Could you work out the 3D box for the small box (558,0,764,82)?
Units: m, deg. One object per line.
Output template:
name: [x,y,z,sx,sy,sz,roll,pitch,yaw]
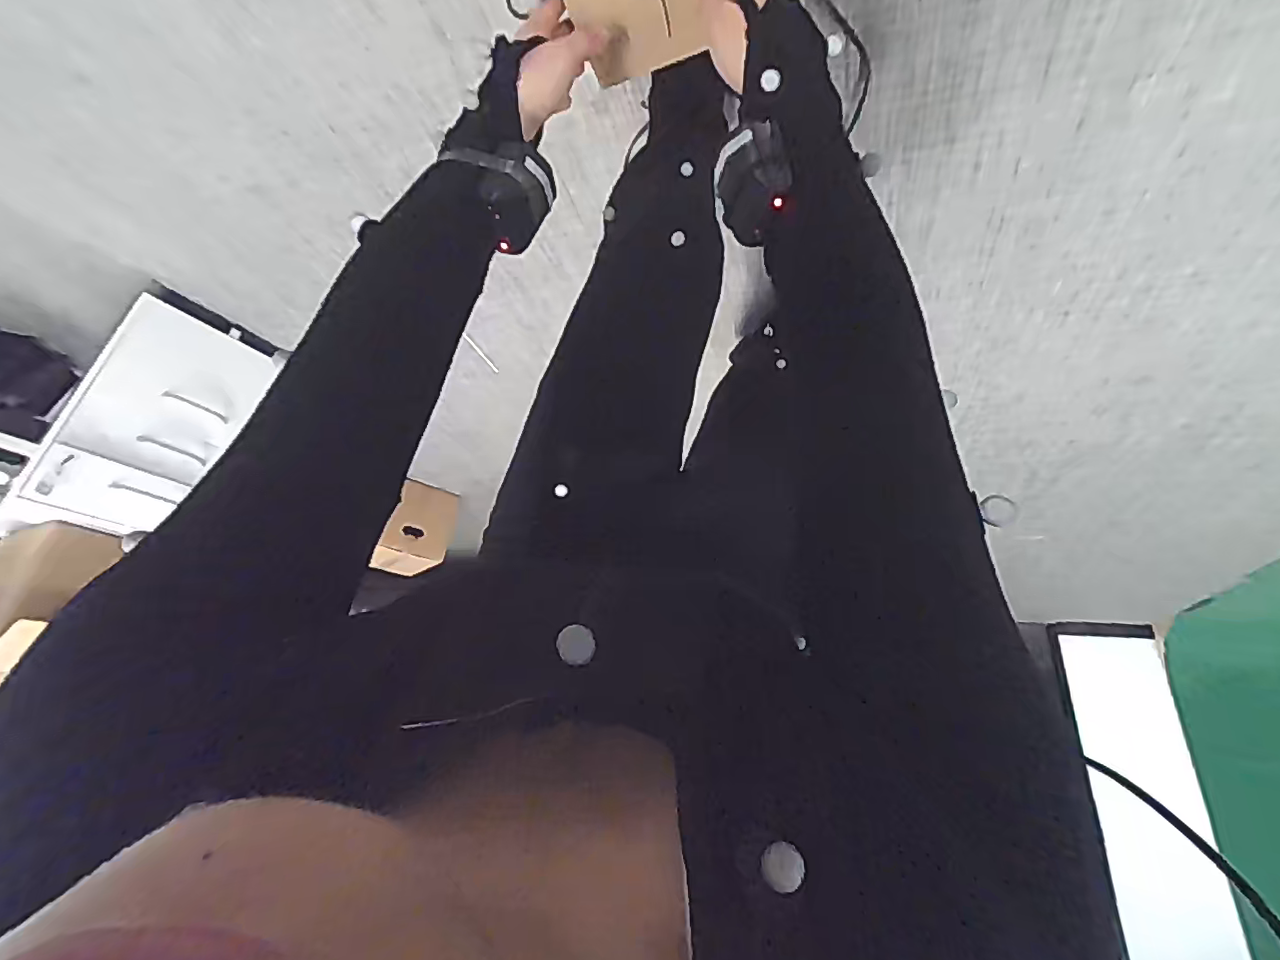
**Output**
small box: [0.007,-0.498,0.455,0.168,0.176,0.179,-4,154,23]
